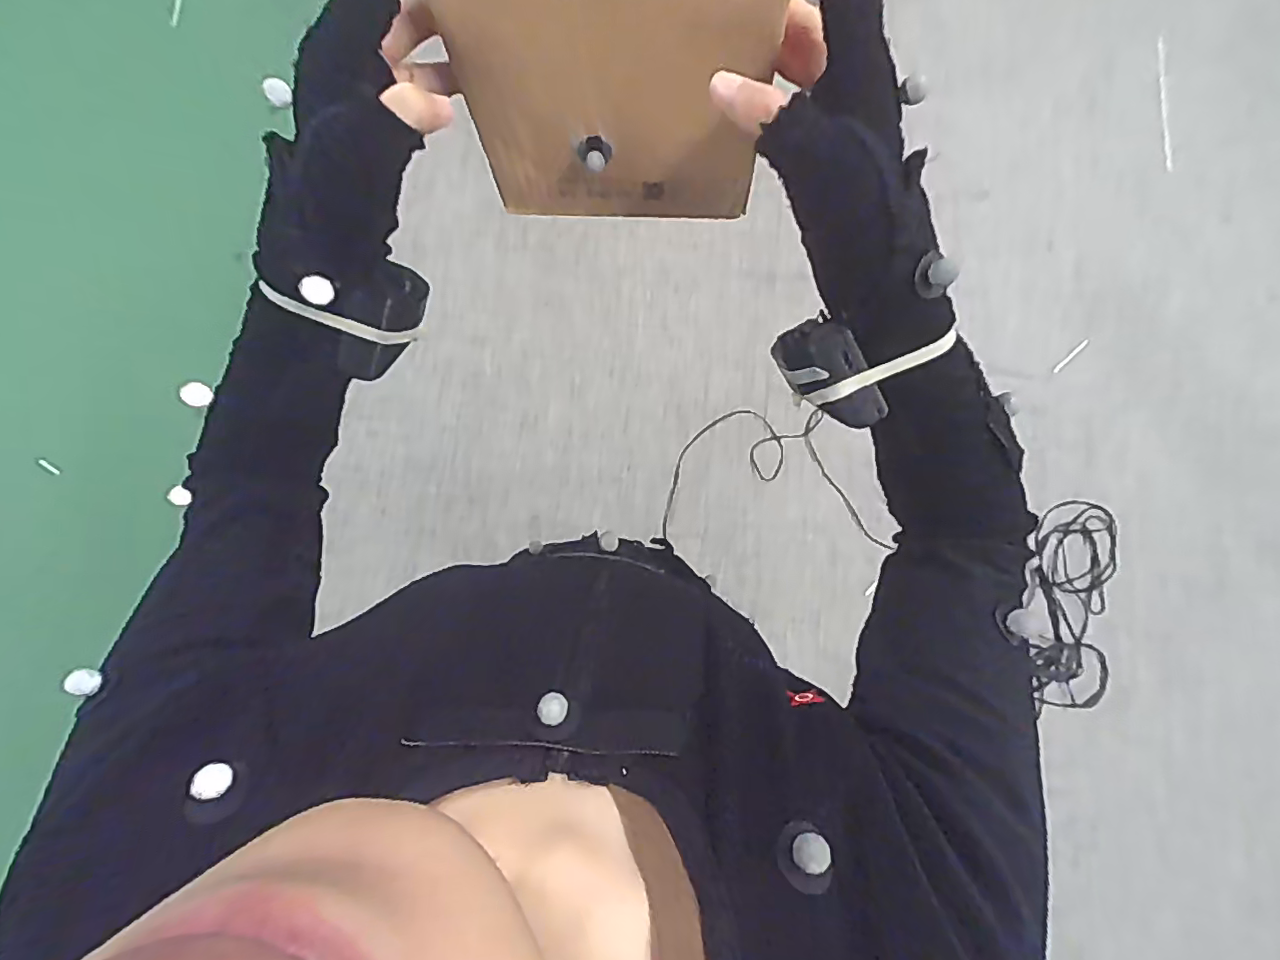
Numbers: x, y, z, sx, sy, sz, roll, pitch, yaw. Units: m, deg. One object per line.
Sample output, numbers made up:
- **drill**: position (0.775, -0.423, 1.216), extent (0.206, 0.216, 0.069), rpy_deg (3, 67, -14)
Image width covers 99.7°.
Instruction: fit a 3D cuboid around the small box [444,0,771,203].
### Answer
- **small box**: position (-0.014, -0.297, 0.314), extent (0.168, 0.176, 0.179), rpy_deg (2, 76, 3)
